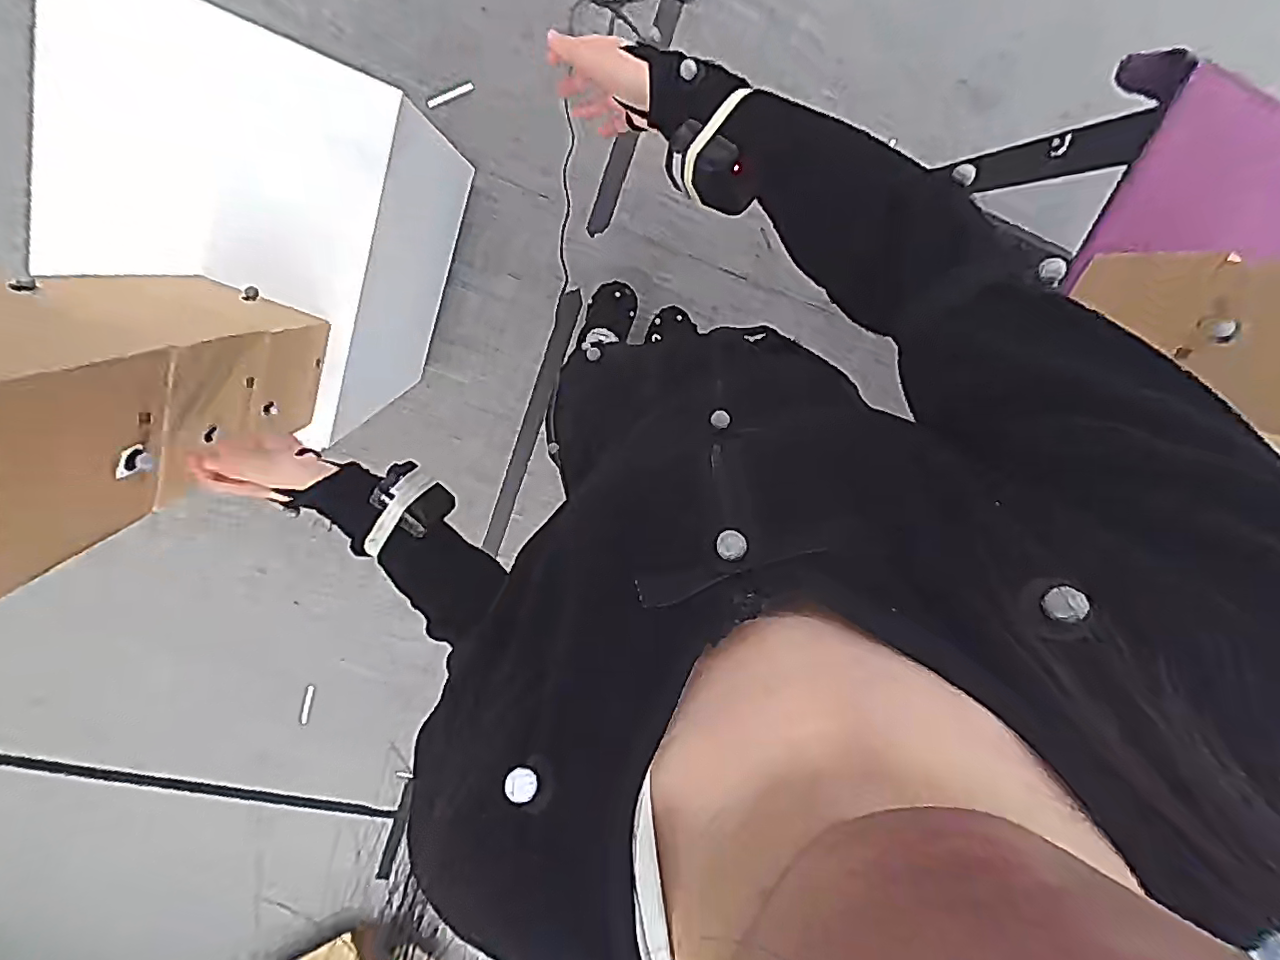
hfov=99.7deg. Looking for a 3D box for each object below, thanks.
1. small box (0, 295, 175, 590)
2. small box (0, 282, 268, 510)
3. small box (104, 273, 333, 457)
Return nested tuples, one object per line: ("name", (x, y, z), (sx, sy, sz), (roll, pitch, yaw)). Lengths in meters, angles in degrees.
("small box", (-0.500, -0.039, 0.396), (0.179, 0.176, 0.168), (16, 109, -13))
("small box", (-0.516, -0.095, 0.548), (0.179, 0.176, 0.168), (17, 108, -12))
("small box", (-0.537, -0.152, 0.699), (0.179, 0.176, 0.168), (18, 107, -12))
